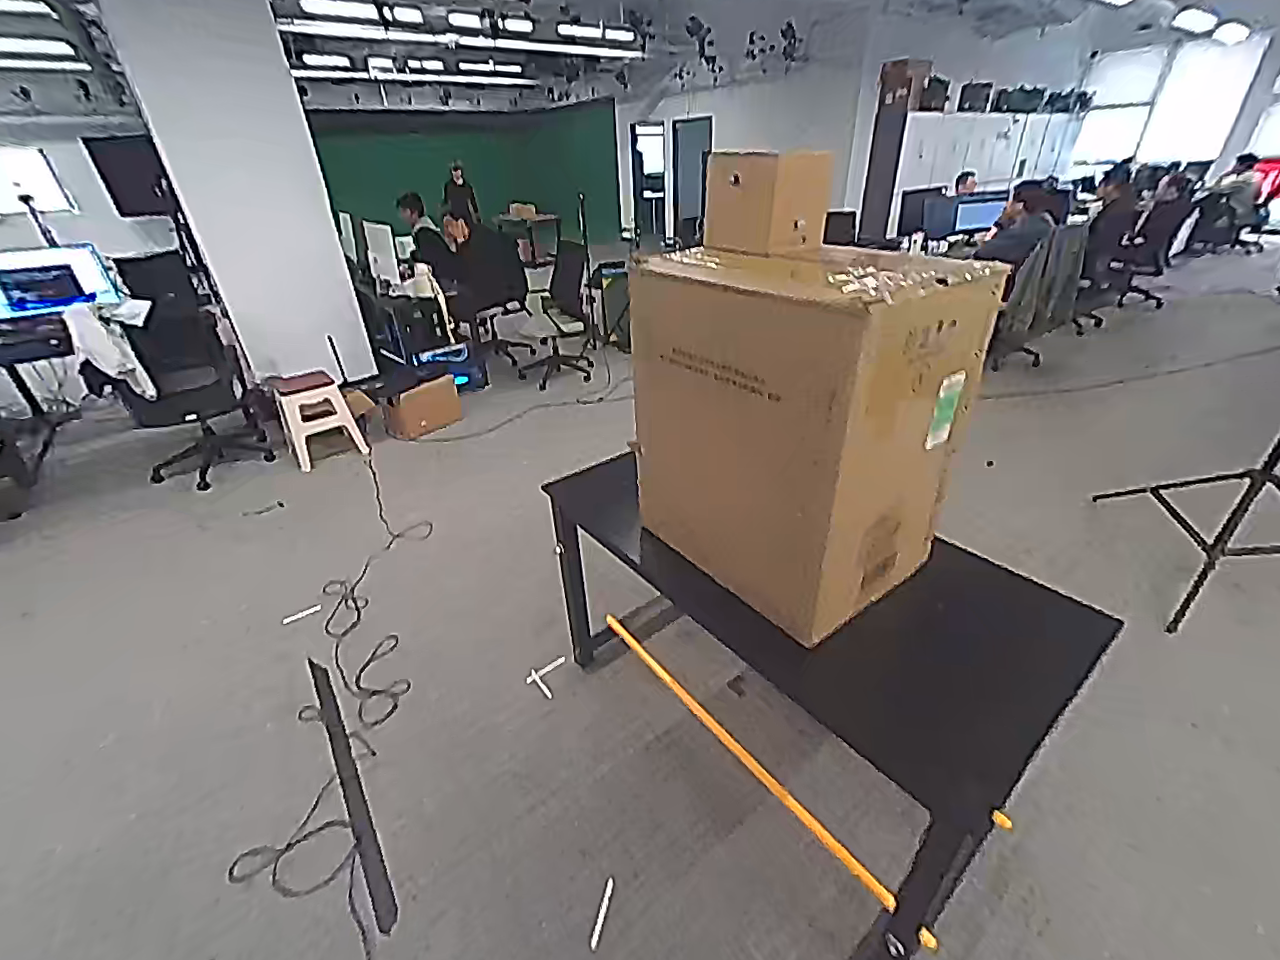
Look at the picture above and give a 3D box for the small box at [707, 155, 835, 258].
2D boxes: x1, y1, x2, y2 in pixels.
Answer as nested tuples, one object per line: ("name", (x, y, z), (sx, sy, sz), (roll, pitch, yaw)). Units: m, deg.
("small box", (0.247, -0.537, 1.061), (0.168, 0.176, 0.179), (-21, 37, -31))
